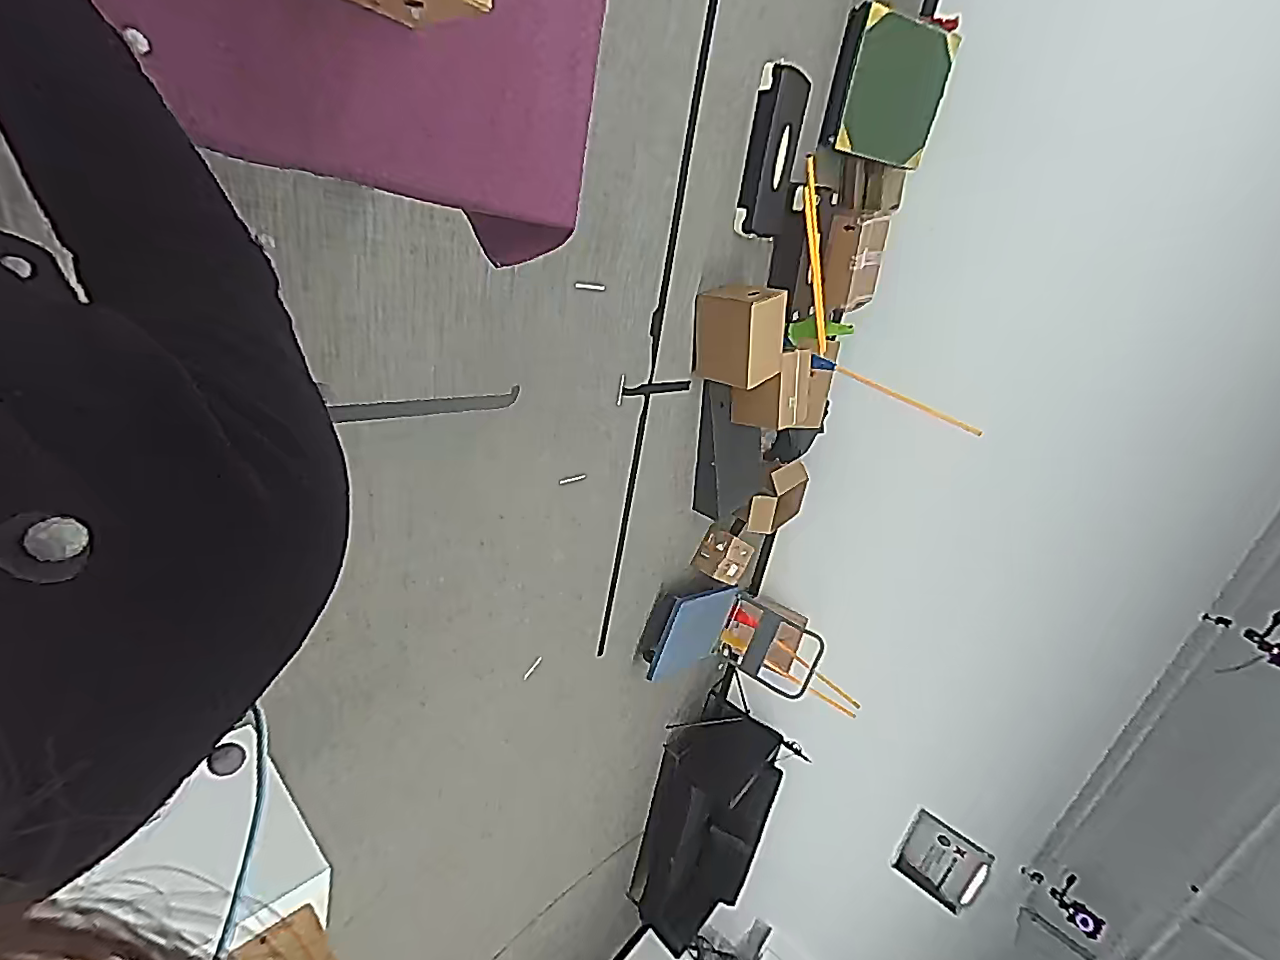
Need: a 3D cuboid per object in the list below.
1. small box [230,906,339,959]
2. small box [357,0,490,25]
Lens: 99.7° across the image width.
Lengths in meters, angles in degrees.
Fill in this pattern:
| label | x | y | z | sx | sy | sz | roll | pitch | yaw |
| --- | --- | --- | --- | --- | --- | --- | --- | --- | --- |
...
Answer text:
| label | x | y | z | sx | sy | sz | roll | pitch | yaw |
| --- | --- | --- | --- | --- | --- | --- | --- | --- | --- |
| small box | -0.793 | 1.118 | 1.205 | 0.168 | 0.176 | 0.179 | -8 | 119 | -51 |
| small box | -0.258 | -0.586 | 0.530 | 0.168 | 0.176 | 0.179 | -17 | 124 | -48 |
